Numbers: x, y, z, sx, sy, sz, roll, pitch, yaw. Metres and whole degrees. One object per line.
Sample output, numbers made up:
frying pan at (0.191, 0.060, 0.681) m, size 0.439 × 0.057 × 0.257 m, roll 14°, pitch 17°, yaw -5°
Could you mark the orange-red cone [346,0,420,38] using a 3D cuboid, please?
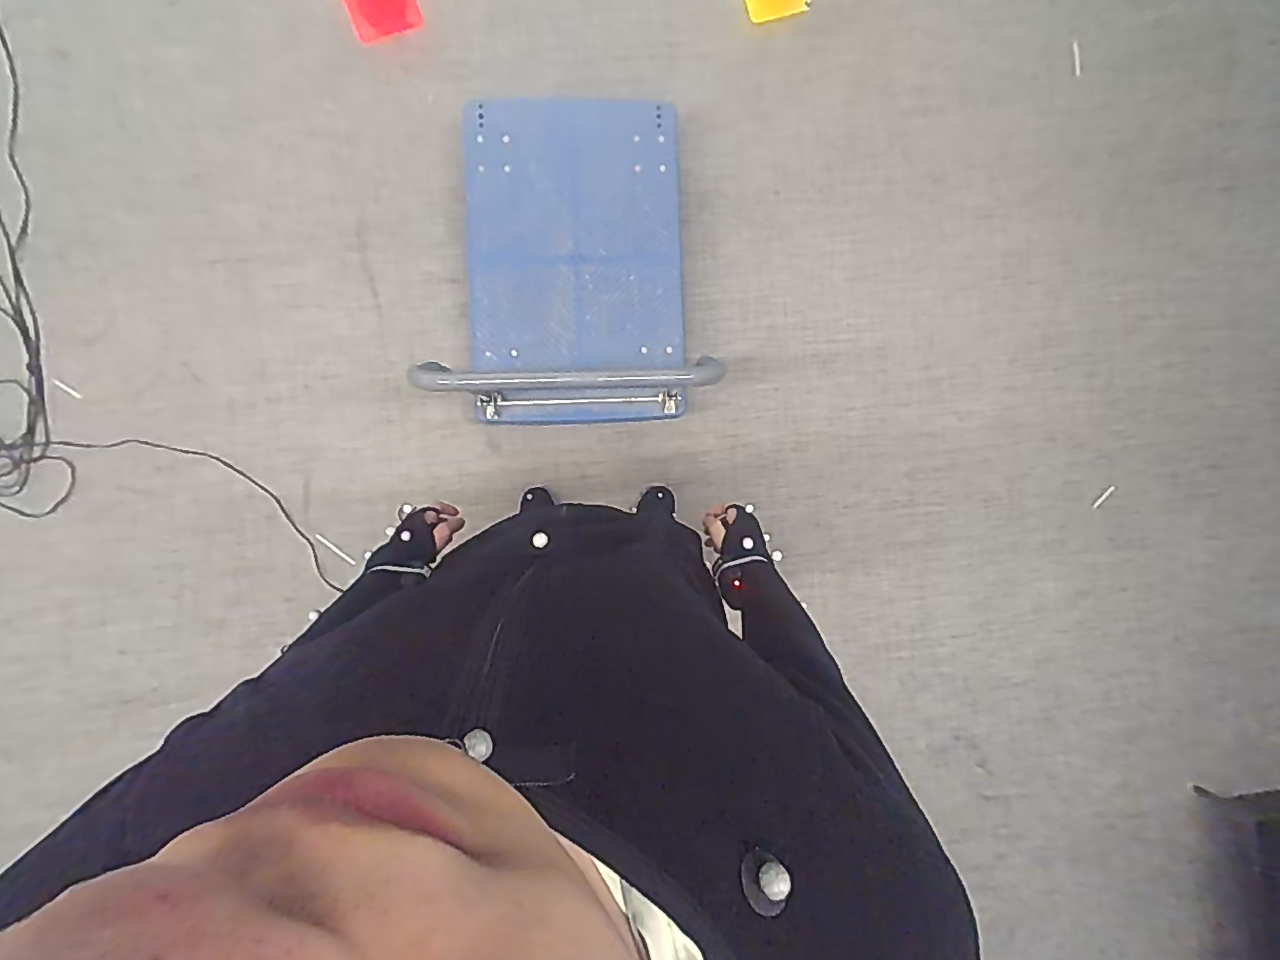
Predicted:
orange-red cone at (-0.756, -1.412, 1.417) m, size 0.199 × 0.360 × 0.198 m, roll -20°, pitch 91°, yaw -2°
